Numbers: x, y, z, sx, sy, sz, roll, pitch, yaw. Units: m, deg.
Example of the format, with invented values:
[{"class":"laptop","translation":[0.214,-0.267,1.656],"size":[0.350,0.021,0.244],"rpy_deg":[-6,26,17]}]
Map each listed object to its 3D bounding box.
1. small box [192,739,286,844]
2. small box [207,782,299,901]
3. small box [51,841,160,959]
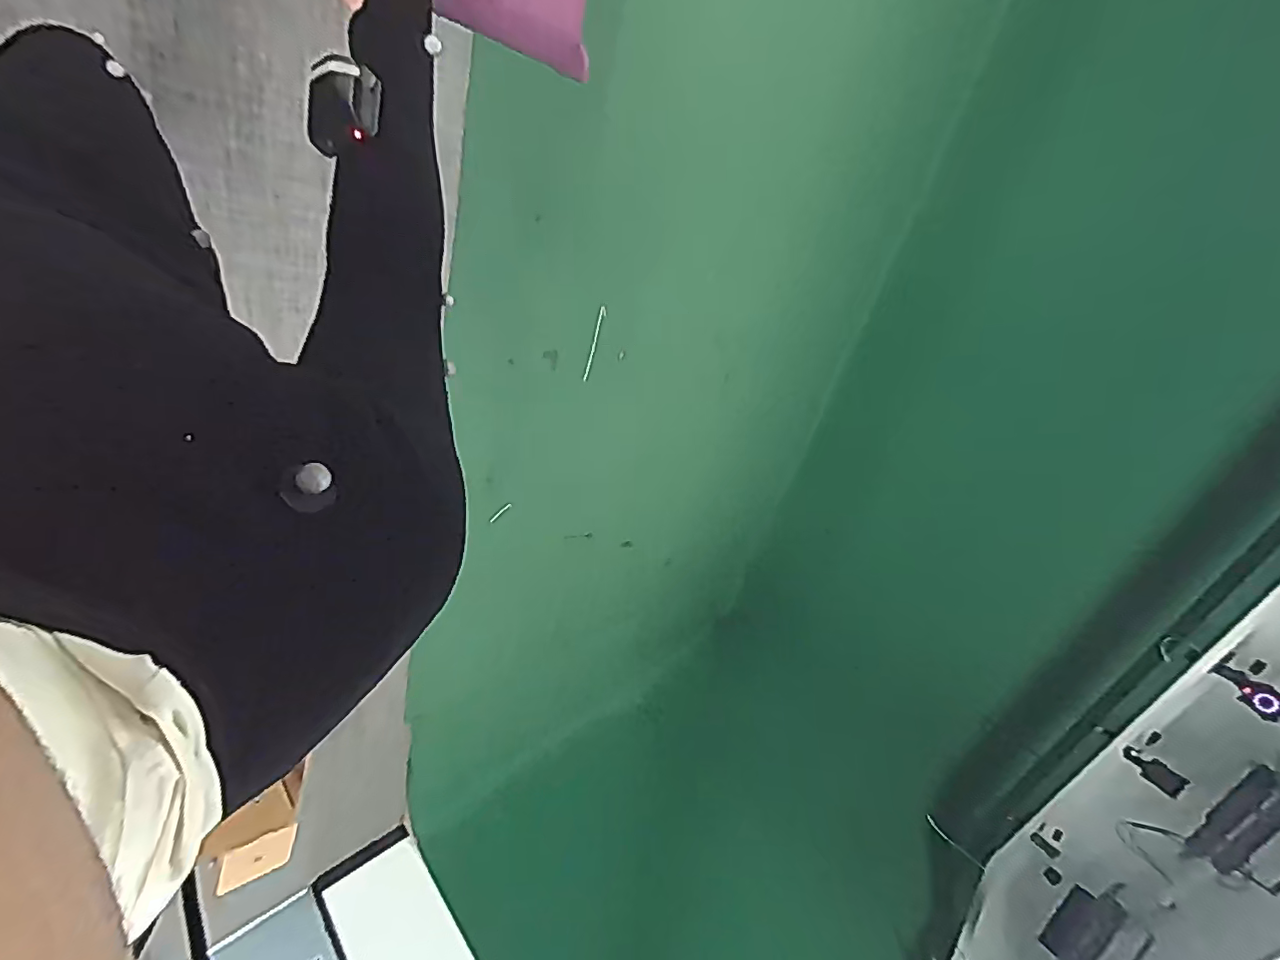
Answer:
[{"class":"small box","translation":[-1.158,0.886,1.560],"size":[0.179,0.176,0.168],"rpy_deg":[0,120,-49]},{"class":"small box","translation":[-1.053,0.971,1.467],"size":[0.168,0.176,0.179],"rpy_deg":[-2,122,-49]},{"class":"small box","translation":[-1.238,0.983,1.250],"size":[0.168,0.176,0.179],"rpy_deg":[-2,123,-48]}]
